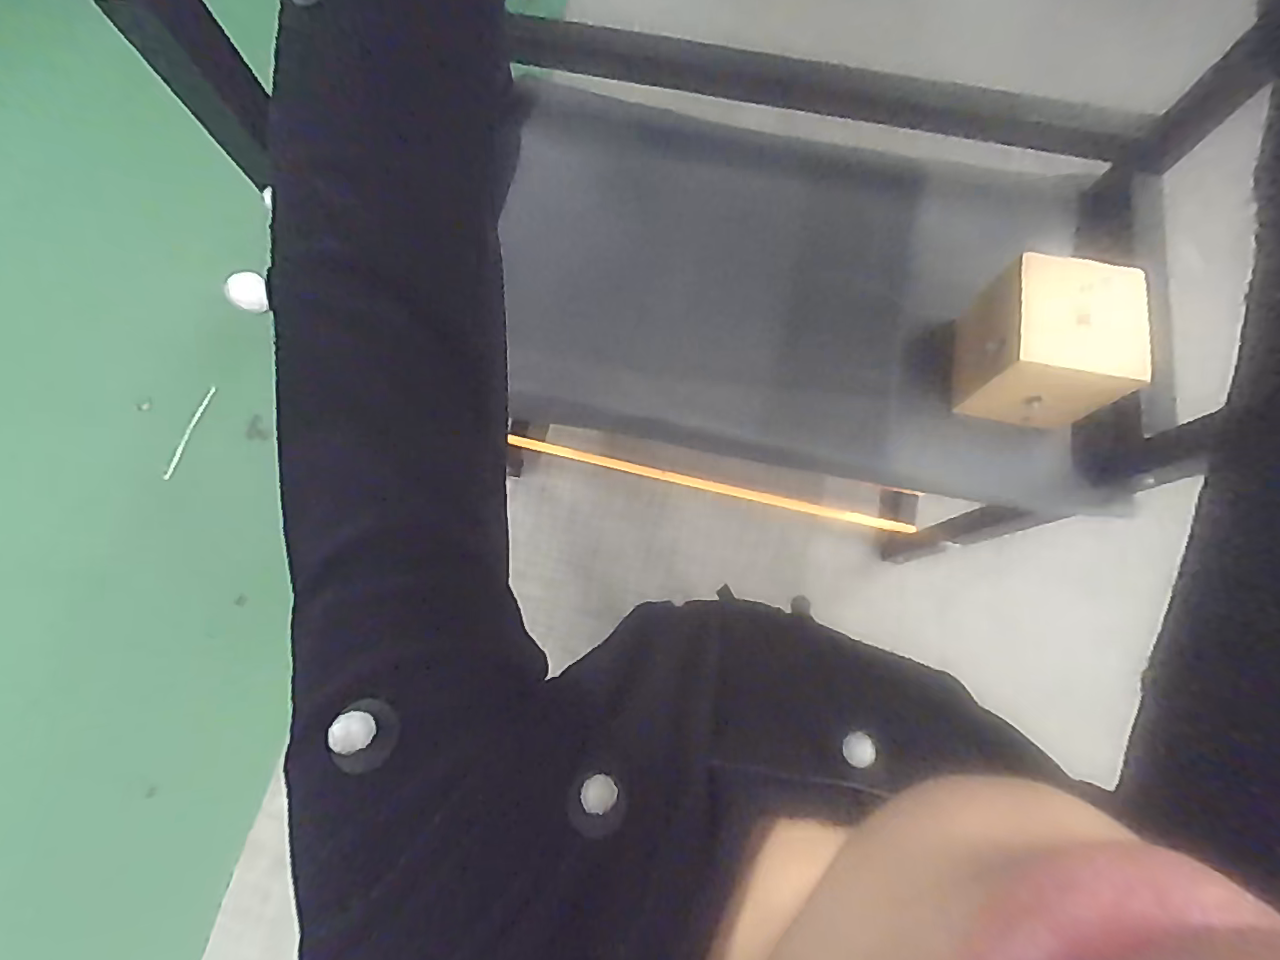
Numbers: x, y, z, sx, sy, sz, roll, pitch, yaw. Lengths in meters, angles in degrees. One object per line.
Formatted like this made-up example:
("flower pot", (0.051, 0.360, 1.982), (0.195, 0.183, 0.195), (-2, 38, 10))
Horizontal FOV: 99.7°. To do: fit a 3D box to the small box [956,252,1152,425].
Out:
("small box", (0.593, -0.197, 0.795), (0.168, 0.176, 0.179), (11, 73, 4))
